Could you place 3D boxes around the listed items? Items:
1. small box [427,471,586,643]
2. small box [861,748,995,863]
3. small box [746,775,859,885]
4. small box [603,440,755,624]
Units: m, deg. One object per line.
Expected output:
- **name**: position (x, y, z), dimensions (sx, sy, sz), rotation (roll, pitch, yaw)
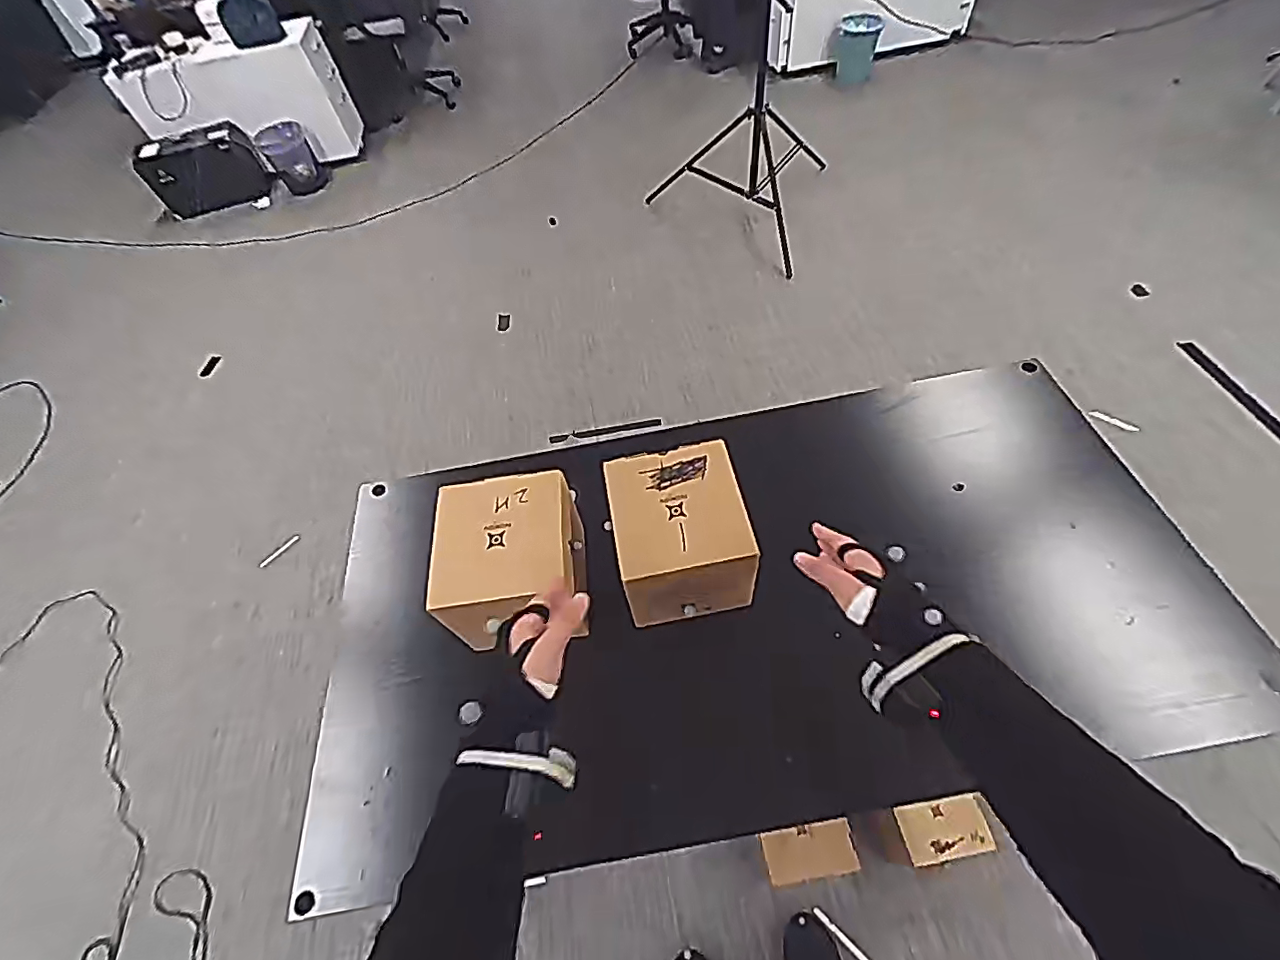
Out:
- **small box**: position (-0.171, 0.113, 0.743), dimensions (0.168, 0.176, 0.179), rotation (-8, 55, 1)
- **small box**: position (0.590, 0.688, 1.138), dimensions (0.168, 0.176, 0.179), rotation (-12, 55, 0)
- **small box**: position (0.332, 0.737, 1.144), dimensions (0.179, 0.176, 0.168), rotation (-12, 55, 1)
- **small box**: position (0.050, 0.075, 0.741), dimensions (0.168, 0.176, 0.179), rotation (-12, 56, 0)
